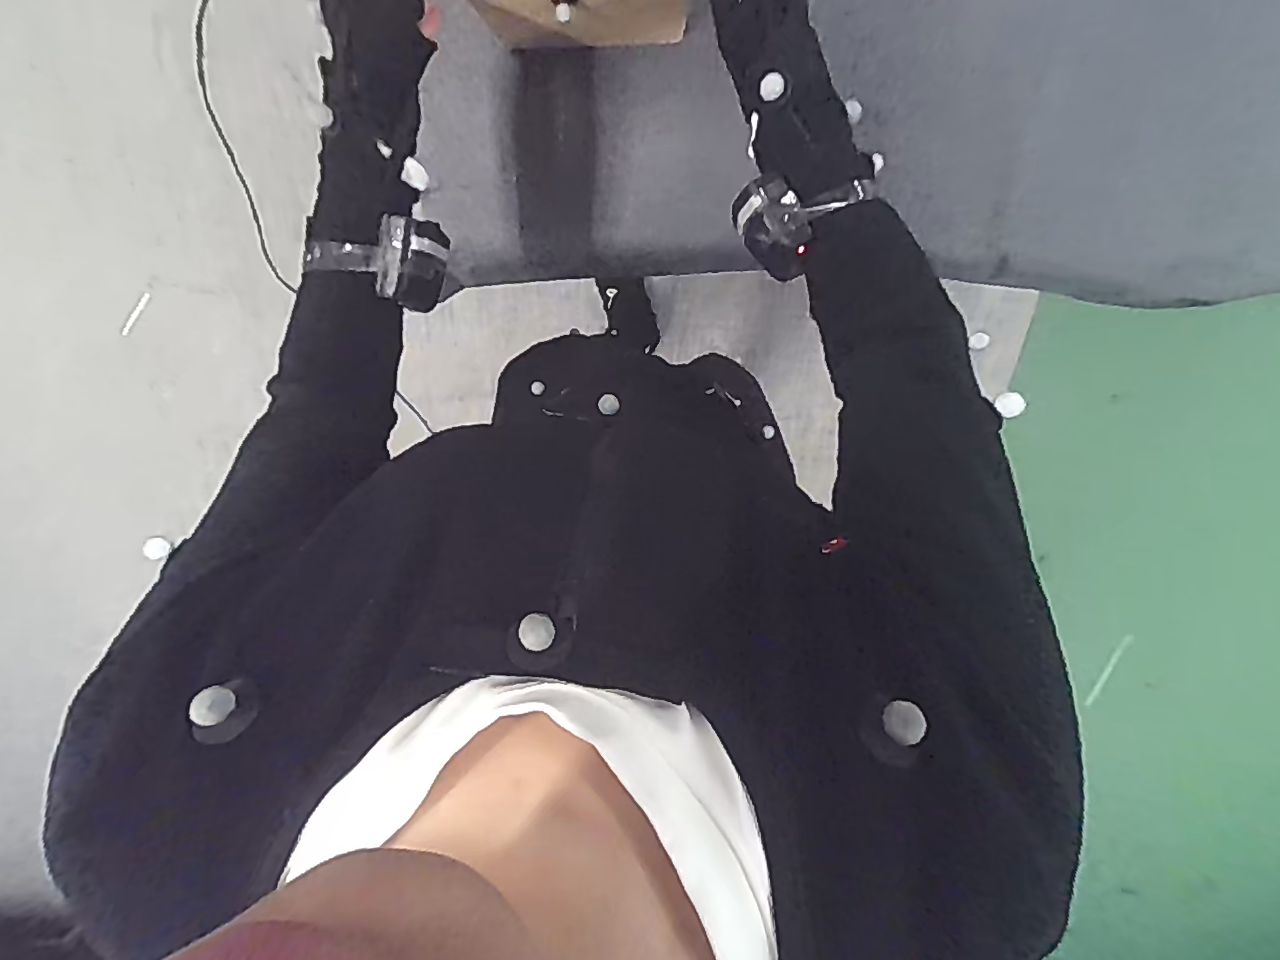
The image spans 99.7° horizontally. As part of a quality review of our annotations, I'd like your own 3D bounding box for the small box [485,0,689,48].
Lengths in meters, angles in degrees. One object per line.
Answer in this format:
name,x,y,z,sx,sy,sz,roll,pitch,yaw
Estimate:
small box,-0.046,-0.463,0.422,0.179,0.176,0.168,-2,116,0
